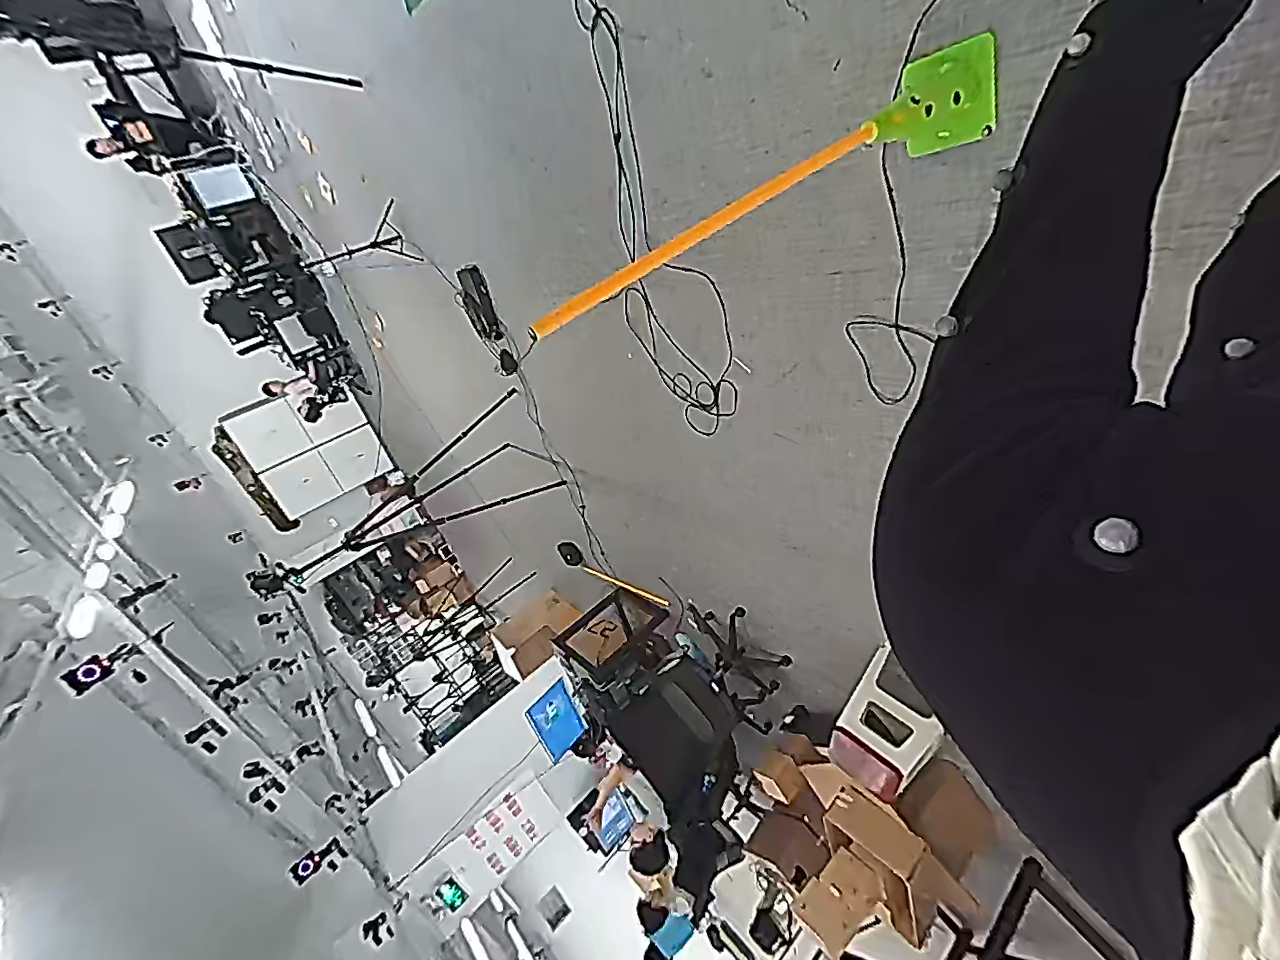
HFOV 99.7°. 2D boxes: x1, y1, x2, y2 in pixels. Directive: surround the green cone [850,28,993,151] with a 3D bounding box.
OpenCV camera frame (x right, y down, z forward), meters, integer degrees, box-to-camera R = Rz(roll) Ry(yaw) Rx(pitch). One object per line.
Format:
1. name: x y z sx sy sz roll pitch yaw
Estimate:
1. green cone: 0.582 -0.810 1.179 0.202 0.368 0.200 17 134 52
